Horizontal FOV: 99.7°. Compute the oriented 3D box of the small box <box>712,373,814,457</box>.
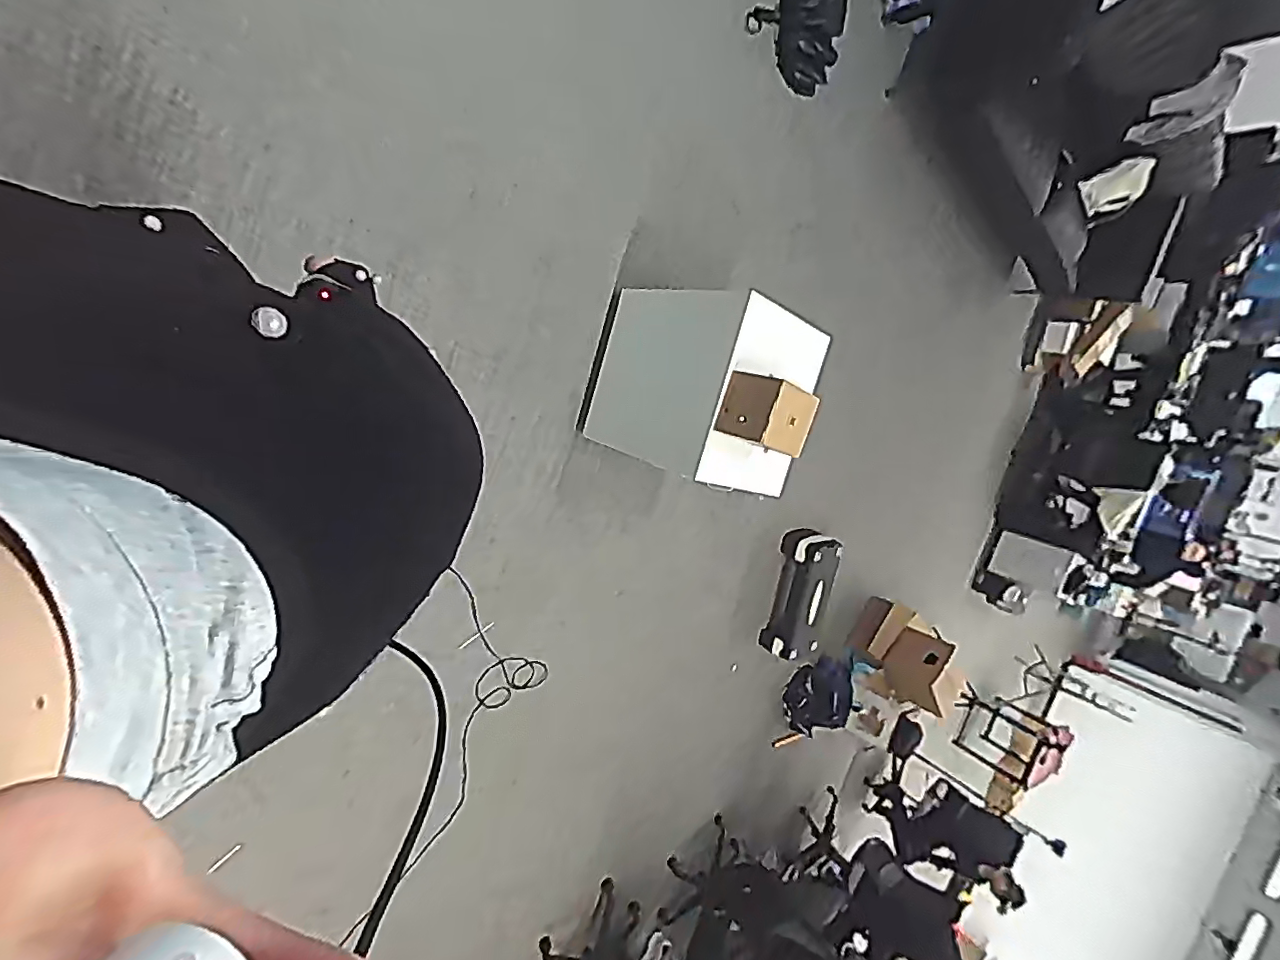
[{"bbox_3d":[0.316,-0.173,1.408,0.179,0.176,0.168,12,98,-44],"label":"small box"}]
